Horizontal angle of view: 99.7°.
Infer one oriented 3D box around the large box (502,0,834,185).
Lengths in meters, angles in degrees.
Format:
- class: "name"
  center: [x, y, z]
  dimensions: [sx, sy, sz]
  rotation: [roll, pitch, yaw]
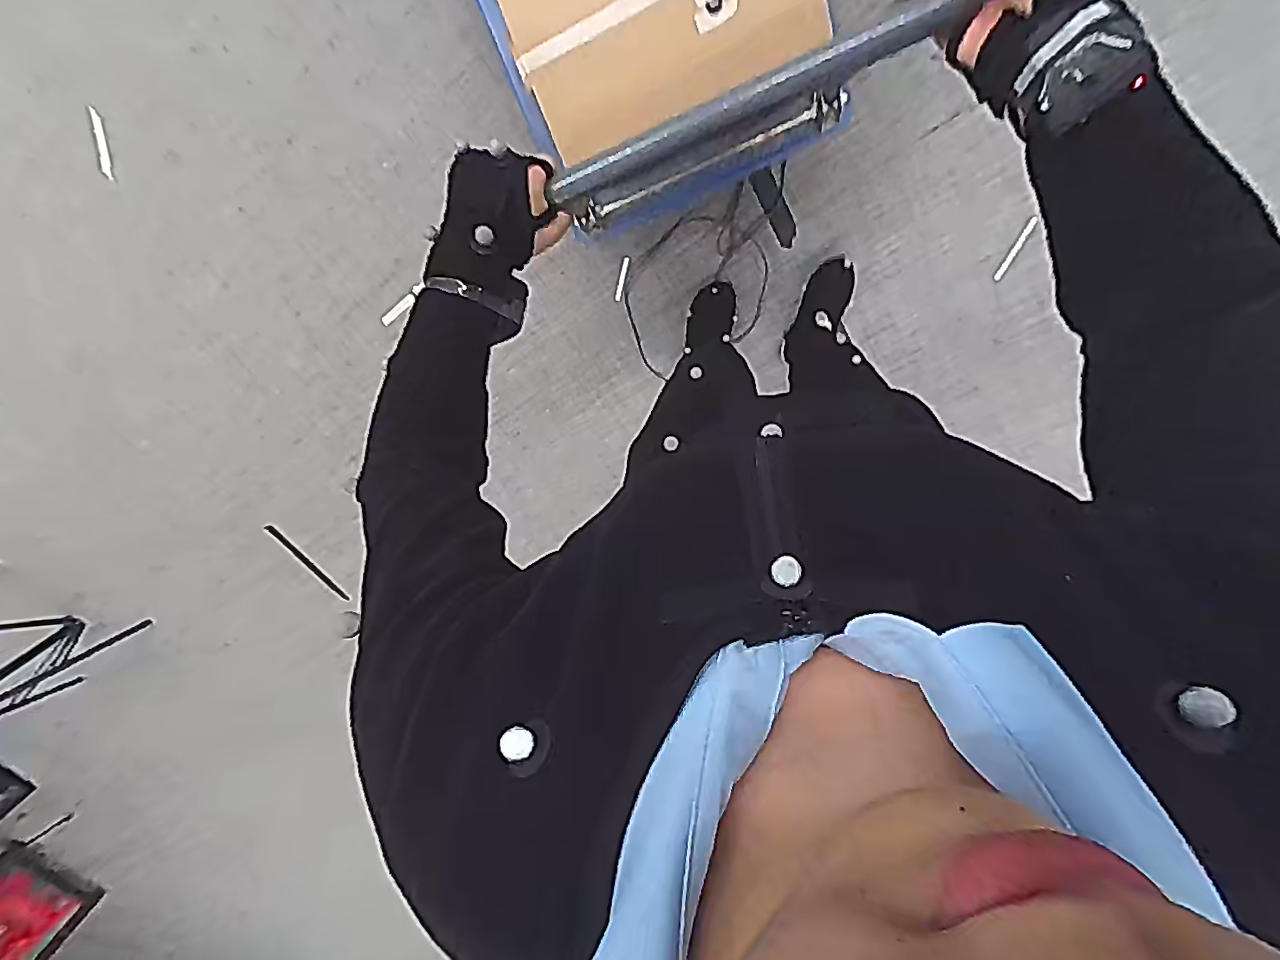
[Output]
- class: "large box"
  center: [0.037, -0.717, 0.855]
  dimensions: [0.408, 0.320, 0.320]
  rotation: [-18, 114, 14]
